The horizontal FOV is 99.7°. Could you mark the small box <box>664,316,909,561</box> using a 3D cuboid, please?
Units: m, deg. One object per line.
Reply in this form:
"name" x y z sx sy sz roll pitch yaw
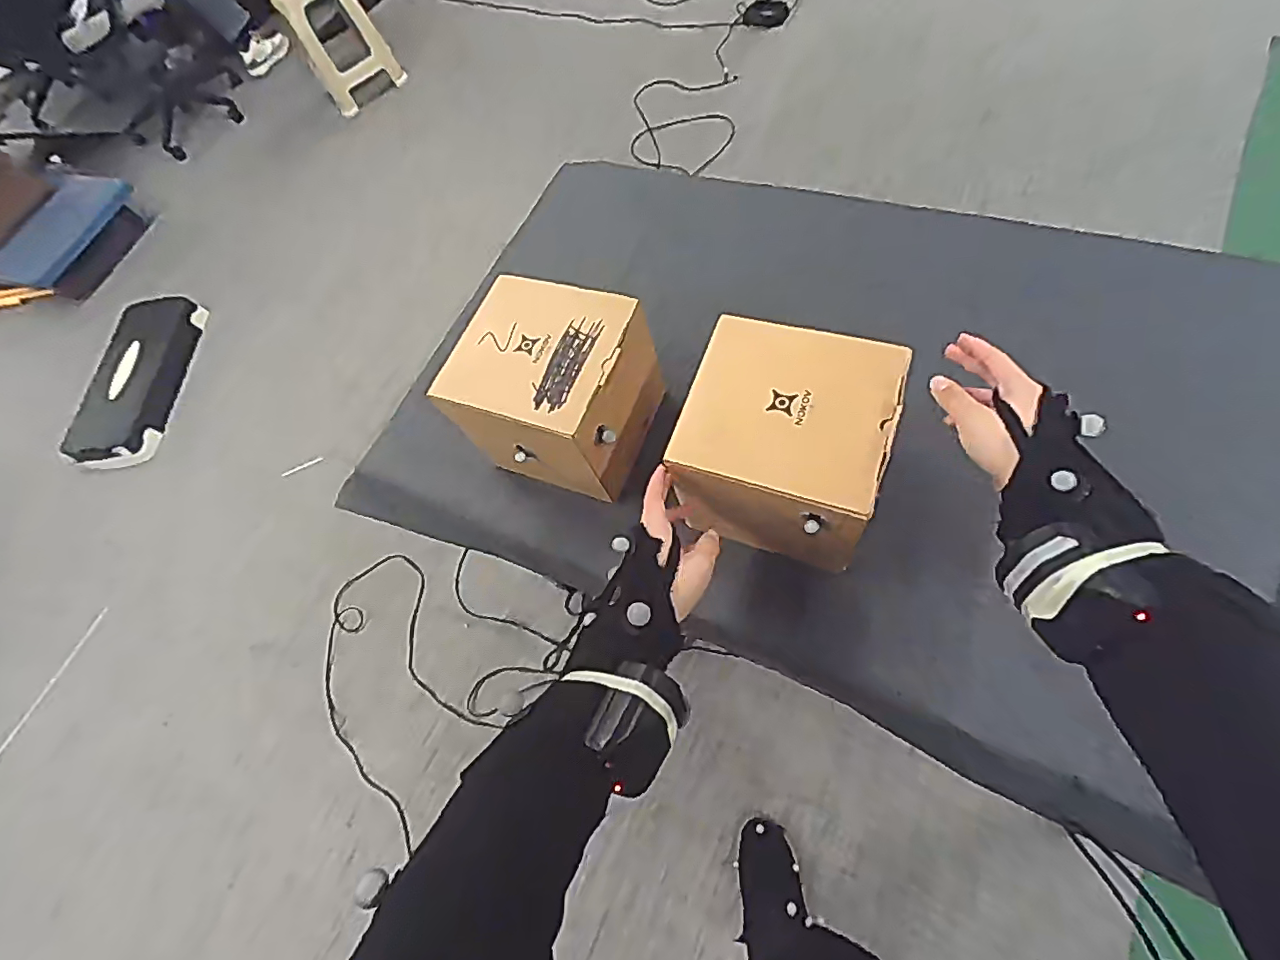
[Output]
"small box" 0.142 -0.034 0.543 0.179 0.176 0.168 16 70 18
